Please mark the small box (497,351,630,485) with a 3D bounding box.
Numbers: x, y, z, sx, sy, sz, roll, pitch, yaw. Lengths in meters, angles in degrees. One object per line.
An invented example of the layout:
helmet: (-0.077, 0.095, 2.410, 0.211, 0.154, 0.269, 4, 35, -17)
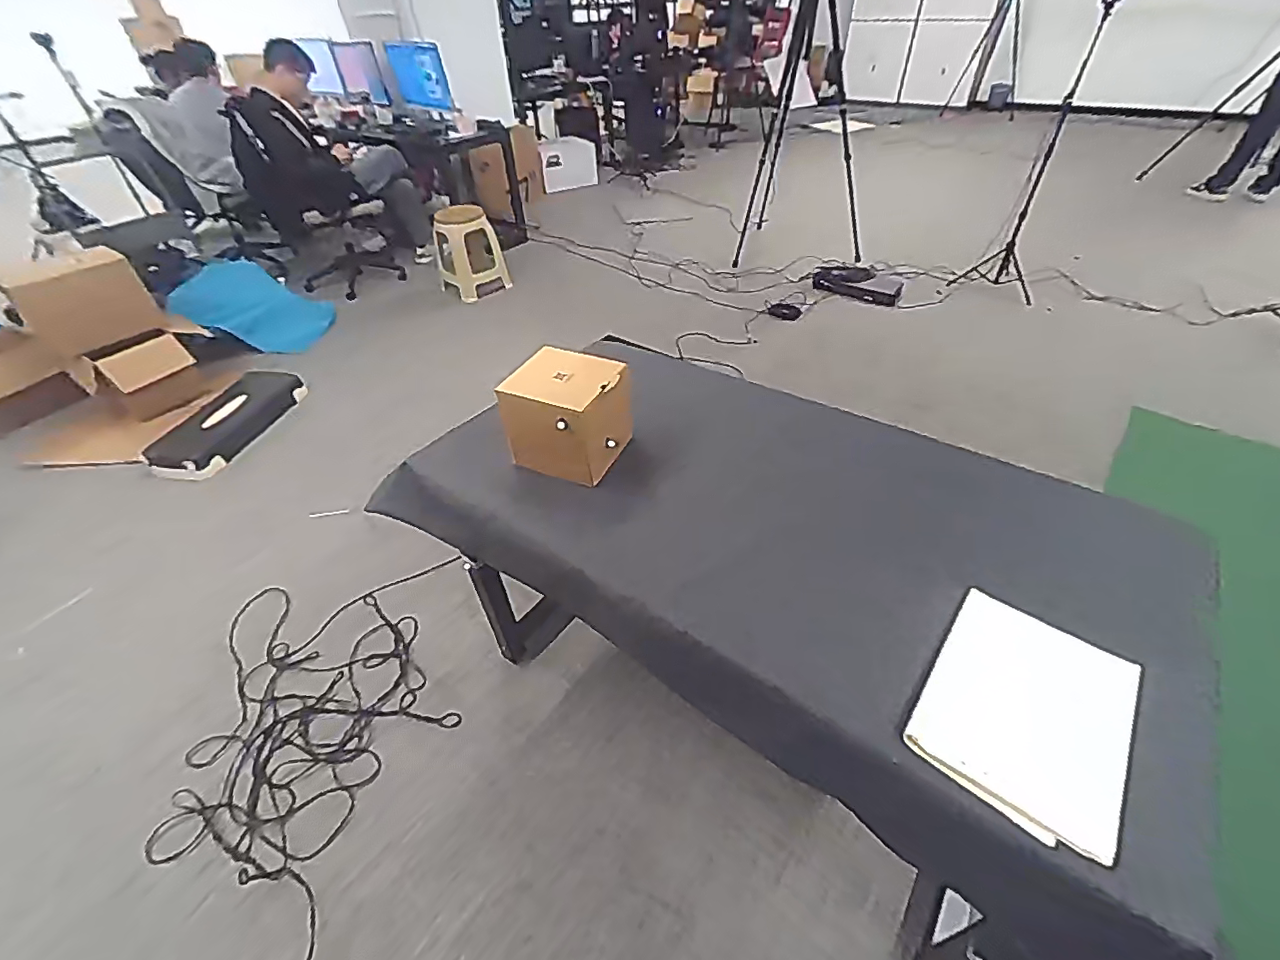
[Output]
small box: (-0.131, -0.114, 0.992, 0.179, 0.176, 0.168, 15, 44, 19)
